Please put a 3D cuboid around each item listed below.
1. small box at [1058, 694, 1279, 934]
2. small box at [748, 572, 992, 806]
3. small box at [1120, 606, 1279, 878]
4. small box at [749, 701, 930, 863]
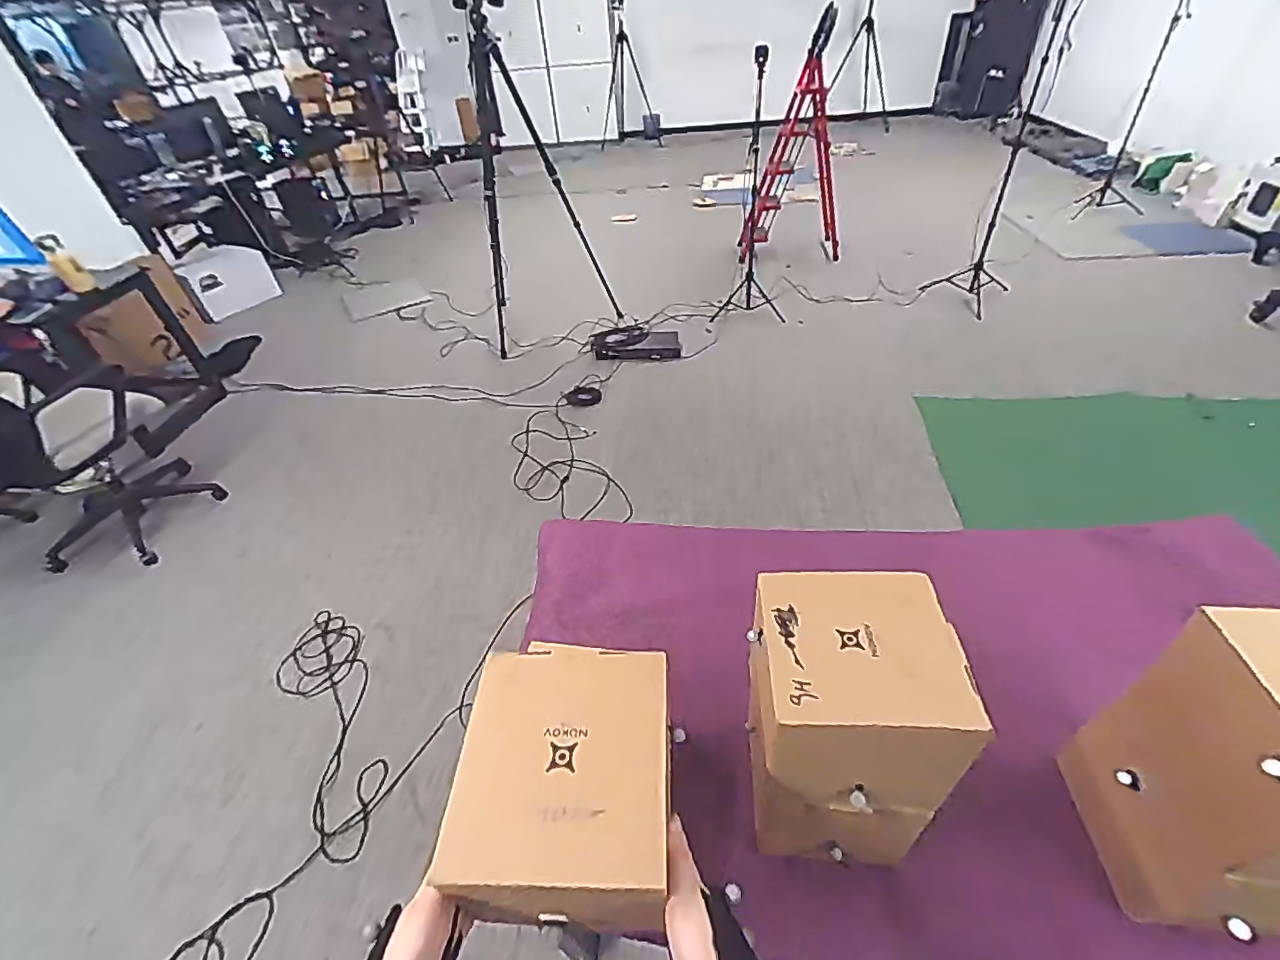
[{"bbox_3d":[0.613,0.363,0.594,0.168,0.176,0.179,1,42,8],"label":"small box"},{"bbox_3d":[0.212,0.214,0.558,0.179,0.176,0.168,-1,39,5],"label":"small box"},{"bbox_3d":[0.602,0.238,0.491,0.168,0.176,0.179,0,41,7],"label":"small box"},{"bbox_3d":[0.225,0.338,0.666,0.168,0.176,0.179,-1,40,7],"label":"small box"}]
